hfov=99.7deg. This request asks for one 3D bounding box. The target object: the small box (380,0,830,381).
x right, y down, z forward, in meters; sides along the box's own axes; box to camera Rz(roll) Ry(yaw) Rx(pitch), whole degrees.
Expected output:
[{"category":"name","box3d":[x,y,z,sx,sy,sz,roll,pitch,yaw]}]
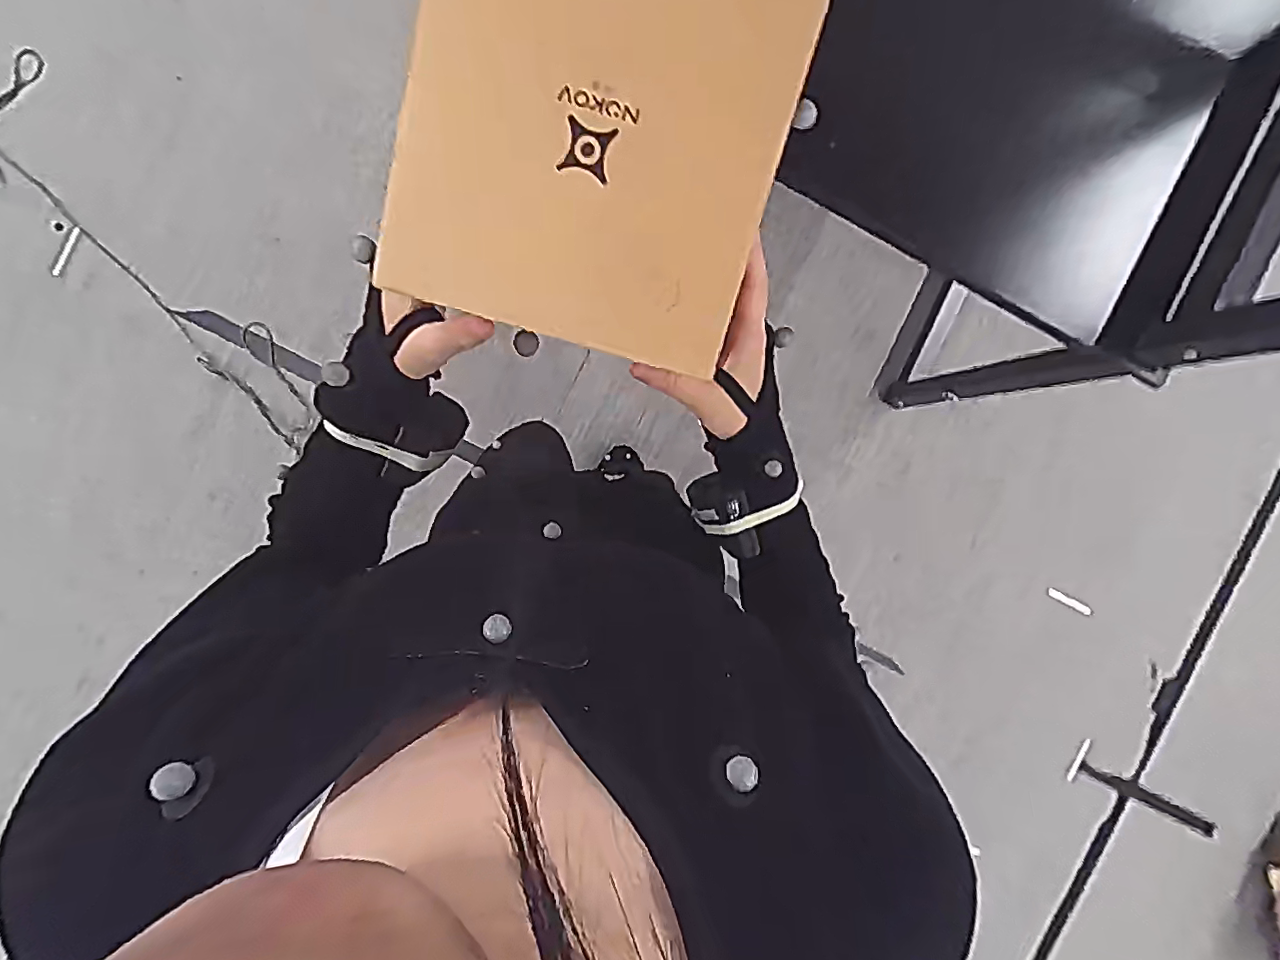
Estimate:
[{"category":"small box","box3d":[-0.020,-0.166,0.313,0.168,0.176,0.179,15,102,-4]}]
